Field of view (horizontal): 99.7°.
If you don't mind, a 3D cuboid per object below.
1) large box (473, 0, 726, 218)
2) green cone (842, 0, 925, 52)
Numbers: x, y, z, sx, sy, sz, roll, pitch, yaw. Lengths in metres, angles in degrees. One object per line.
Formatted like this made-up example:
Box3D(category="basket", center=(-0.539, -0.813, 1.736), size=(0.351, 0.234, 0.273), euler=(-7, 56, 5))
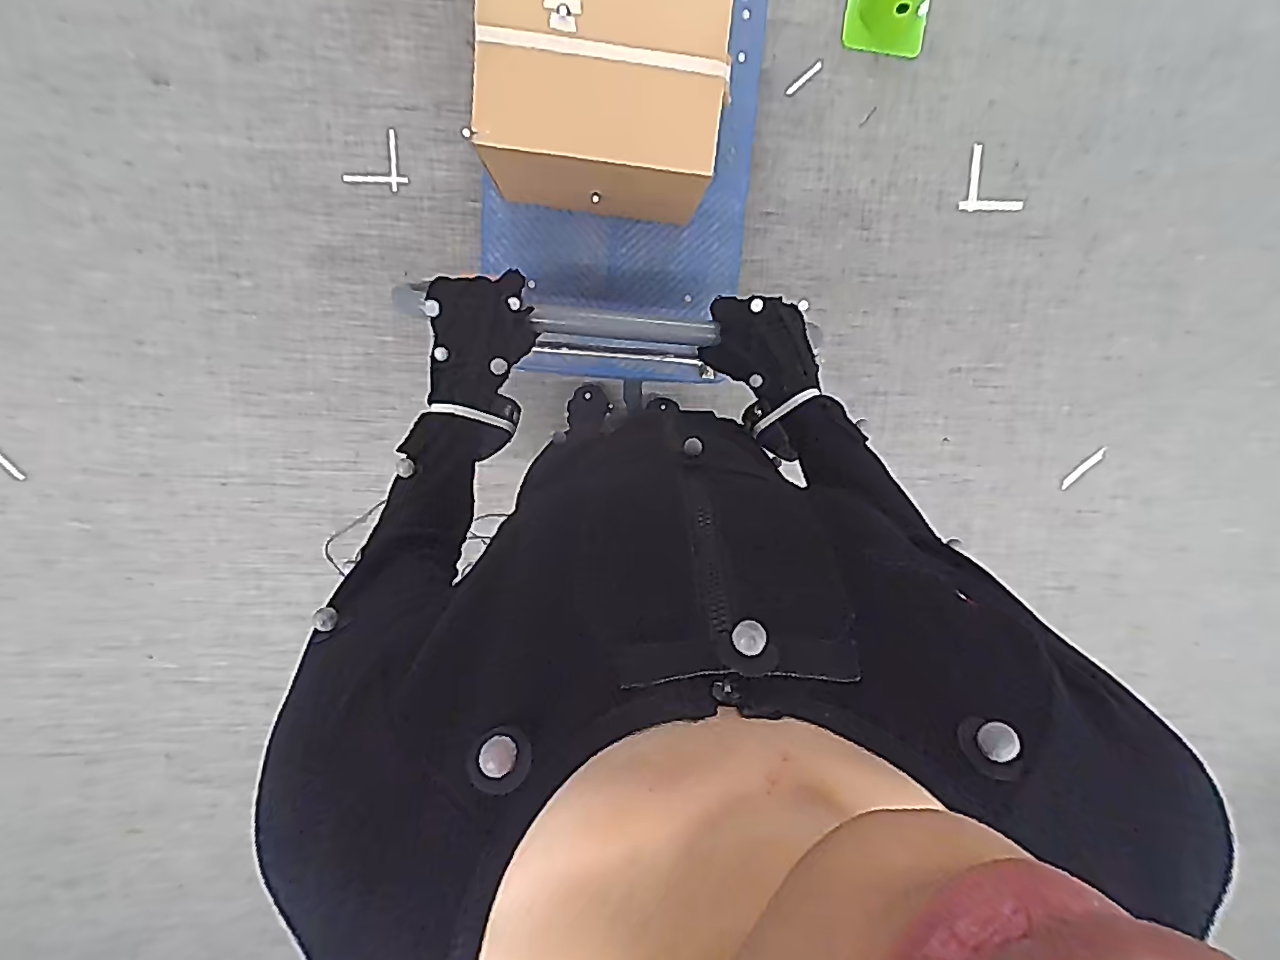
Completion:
Box3D(category="large box", center=(-0.072, -0.716, 1.025), size=(0.408, 0.320, 0.320), euler=(5, 101, -4))
Box3D(category="green cone", center=(0.606, -1.122, 1.135), size=(0.202, 0.368, 0.200), euler=(5, 101, -6))
